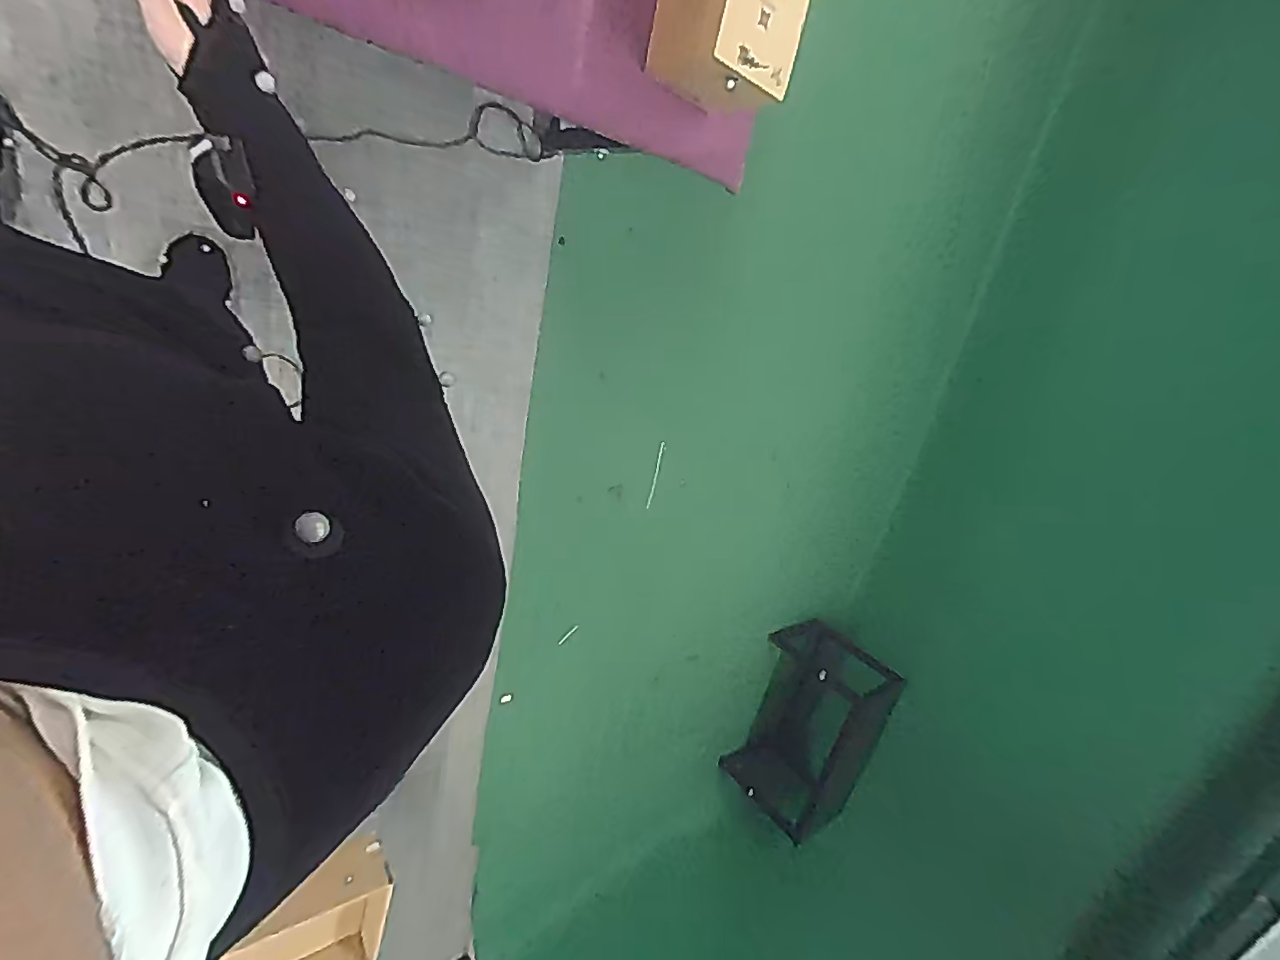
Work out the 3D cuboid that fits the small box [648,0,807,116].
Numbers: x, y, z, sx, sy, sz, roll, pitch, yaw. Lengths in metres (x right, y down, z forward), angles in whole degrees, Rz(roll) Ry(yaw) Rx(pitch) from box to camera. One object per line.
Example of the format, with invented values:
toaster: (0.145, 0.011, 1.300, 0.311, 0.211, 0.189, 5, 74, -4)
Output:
small box: (0.134, -0.712, 0.855, 0.168, 0.176, 0.179, -2, 113, -39)
